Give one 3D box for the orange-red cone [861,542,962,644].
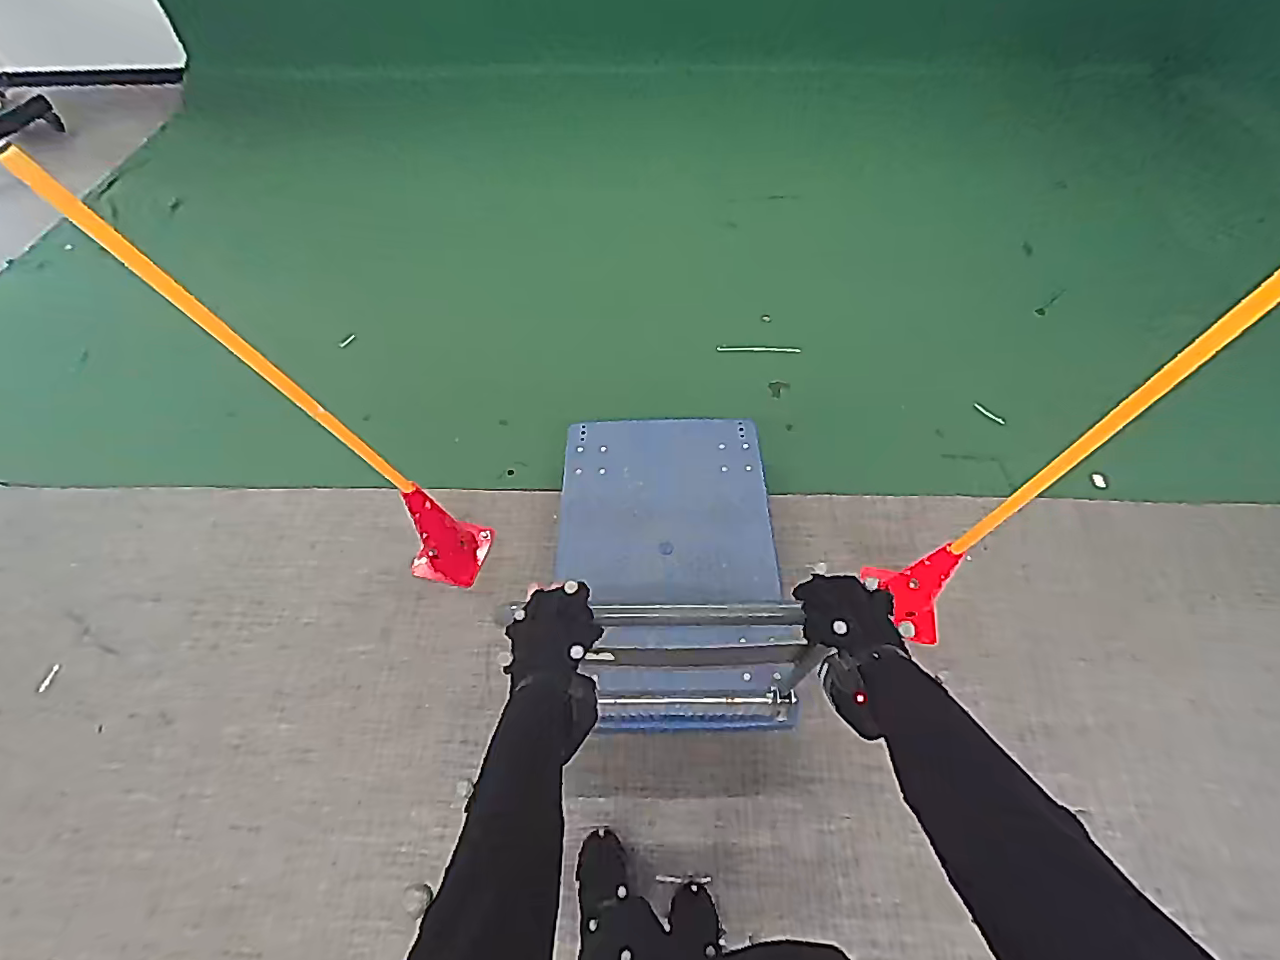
[{"bbox_3d":[0.710,0.251,1.355,0.198,0.360,0.199,10,59,9],"label":"orange-red cone"}]
